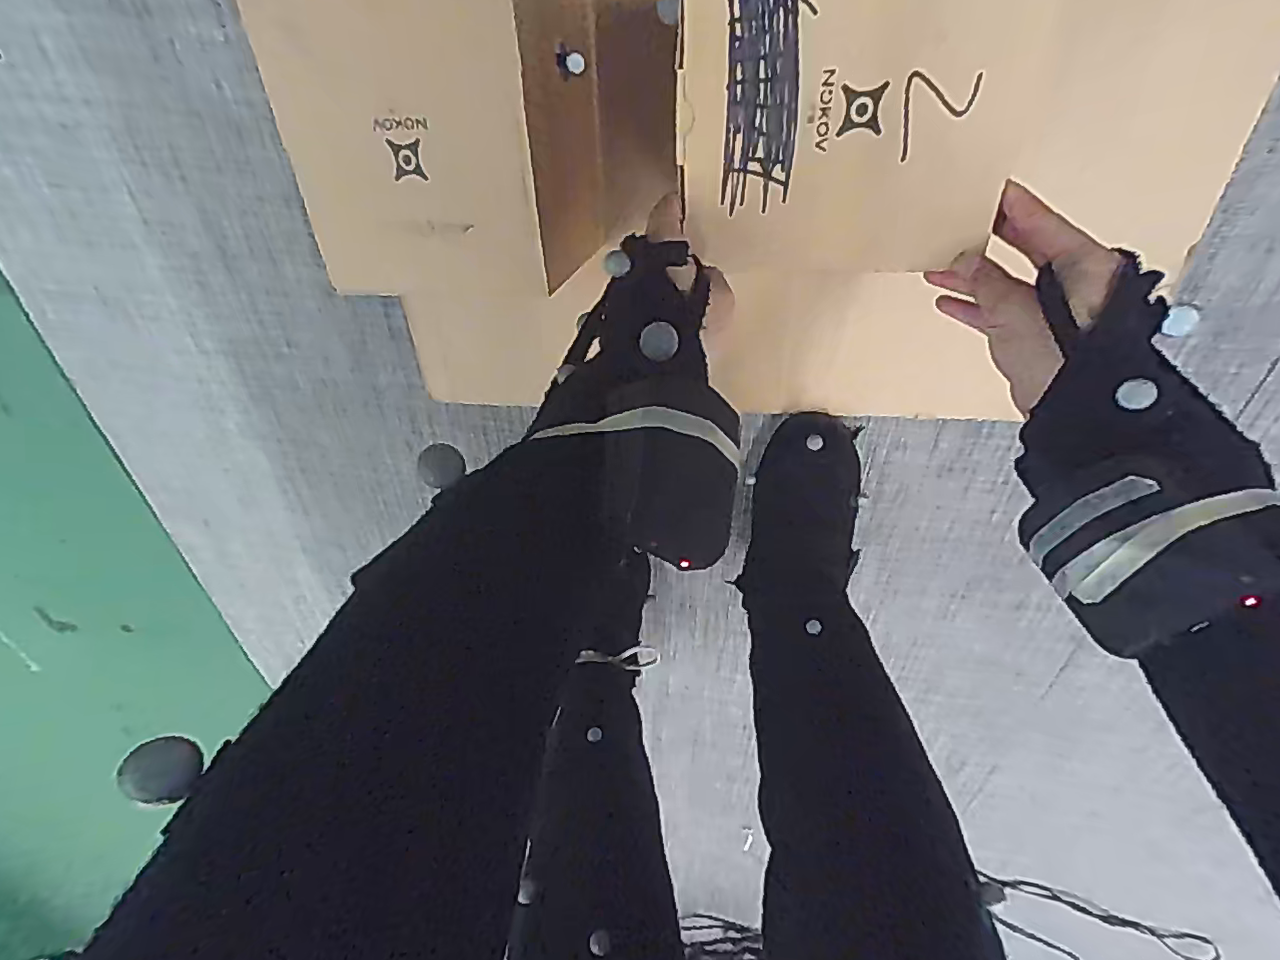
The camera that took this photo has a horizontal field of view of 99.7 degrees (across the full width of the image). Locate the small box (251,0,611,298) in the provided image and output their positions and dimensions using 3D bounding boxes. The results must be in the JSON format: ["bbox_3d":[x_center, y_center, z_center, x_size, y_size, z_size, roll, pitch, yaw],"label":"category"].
[{"bbox_3d":[-0.122,-0.247,0.399,0.168,0.176,0.179,4,125,10],"label":"small box"}]
